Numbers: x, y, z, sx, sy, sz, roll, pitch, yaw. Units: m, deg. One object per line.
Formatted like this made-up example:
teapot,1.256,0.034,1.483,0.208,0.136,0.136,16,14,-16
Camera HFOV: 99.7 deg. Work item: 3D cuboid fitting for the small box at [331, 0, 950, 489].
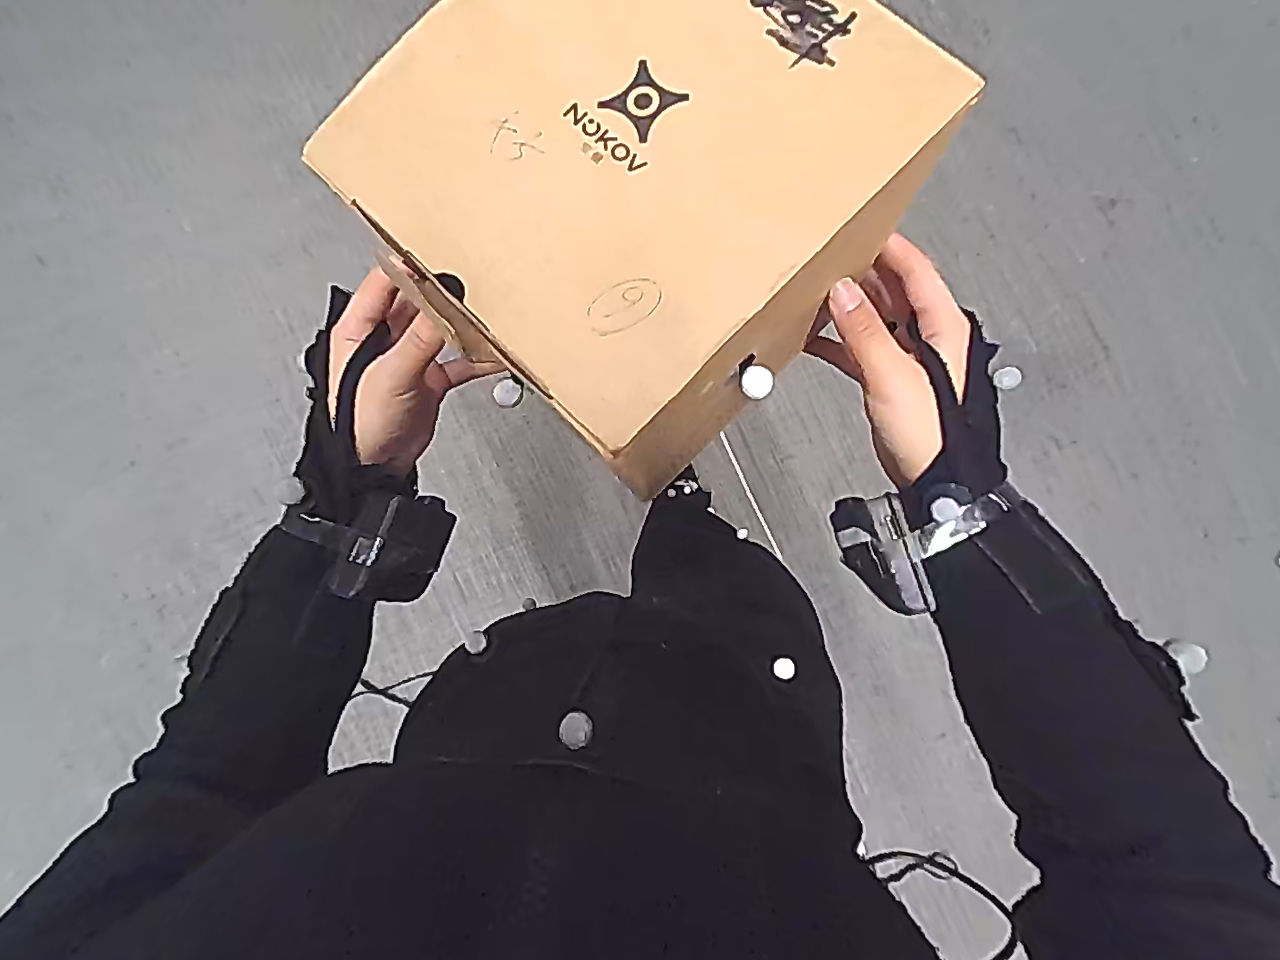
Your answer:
small box,0.002,-0.112,0.278,0.168,0.176,0.179,44,88,9
